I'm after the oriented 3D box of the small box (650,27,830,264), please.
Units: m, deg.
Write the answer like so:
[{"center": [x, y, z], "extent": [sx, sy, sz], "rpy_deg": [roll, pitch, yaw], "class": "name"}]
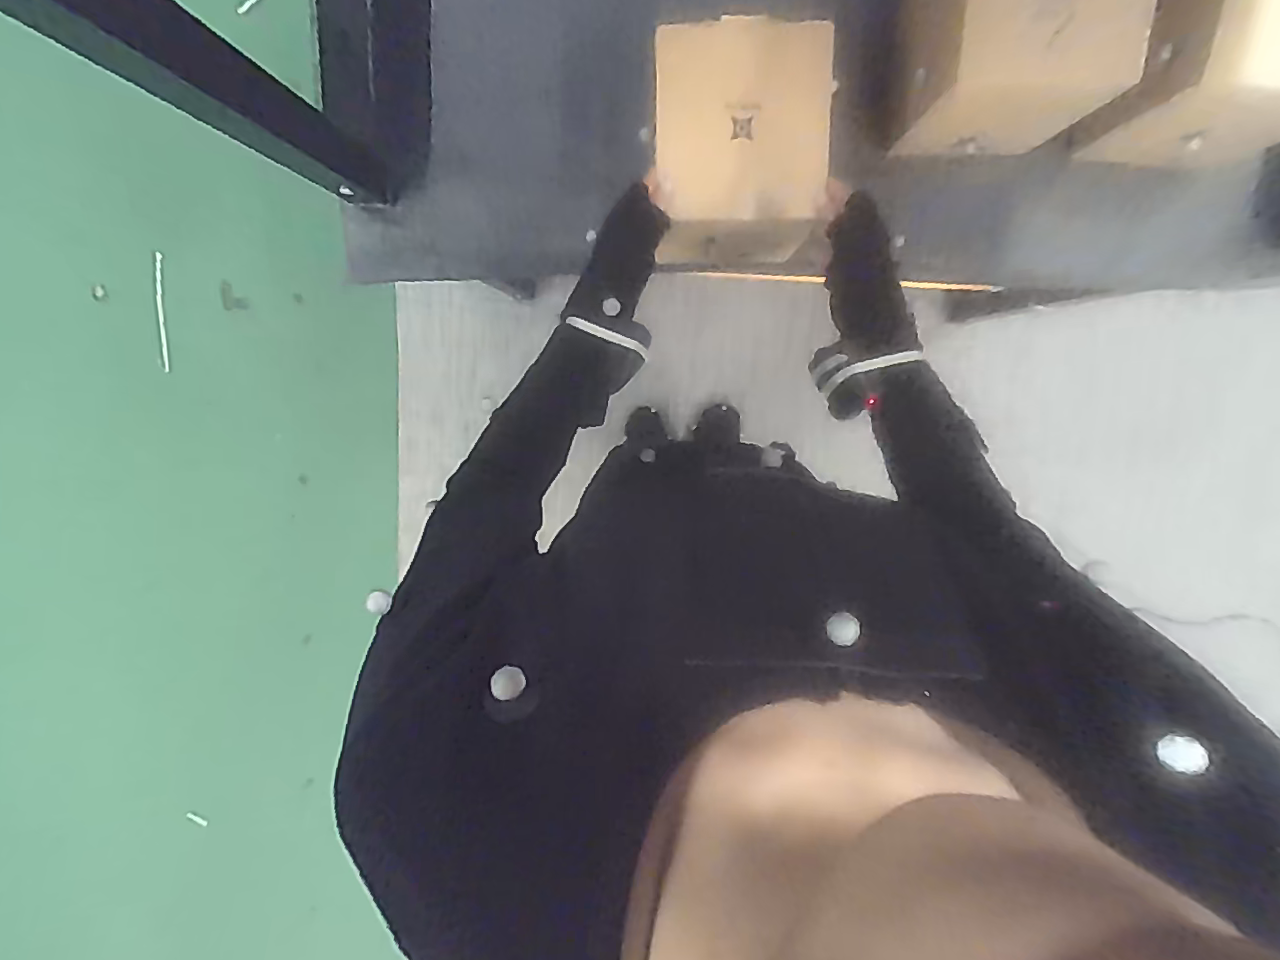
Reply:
[{"center": [0.096, -0.345, 0.593], "extent": [0.168, 0.176, 0.179], "rpy_deg": [1, 97, 2], "class": "small box"}]
